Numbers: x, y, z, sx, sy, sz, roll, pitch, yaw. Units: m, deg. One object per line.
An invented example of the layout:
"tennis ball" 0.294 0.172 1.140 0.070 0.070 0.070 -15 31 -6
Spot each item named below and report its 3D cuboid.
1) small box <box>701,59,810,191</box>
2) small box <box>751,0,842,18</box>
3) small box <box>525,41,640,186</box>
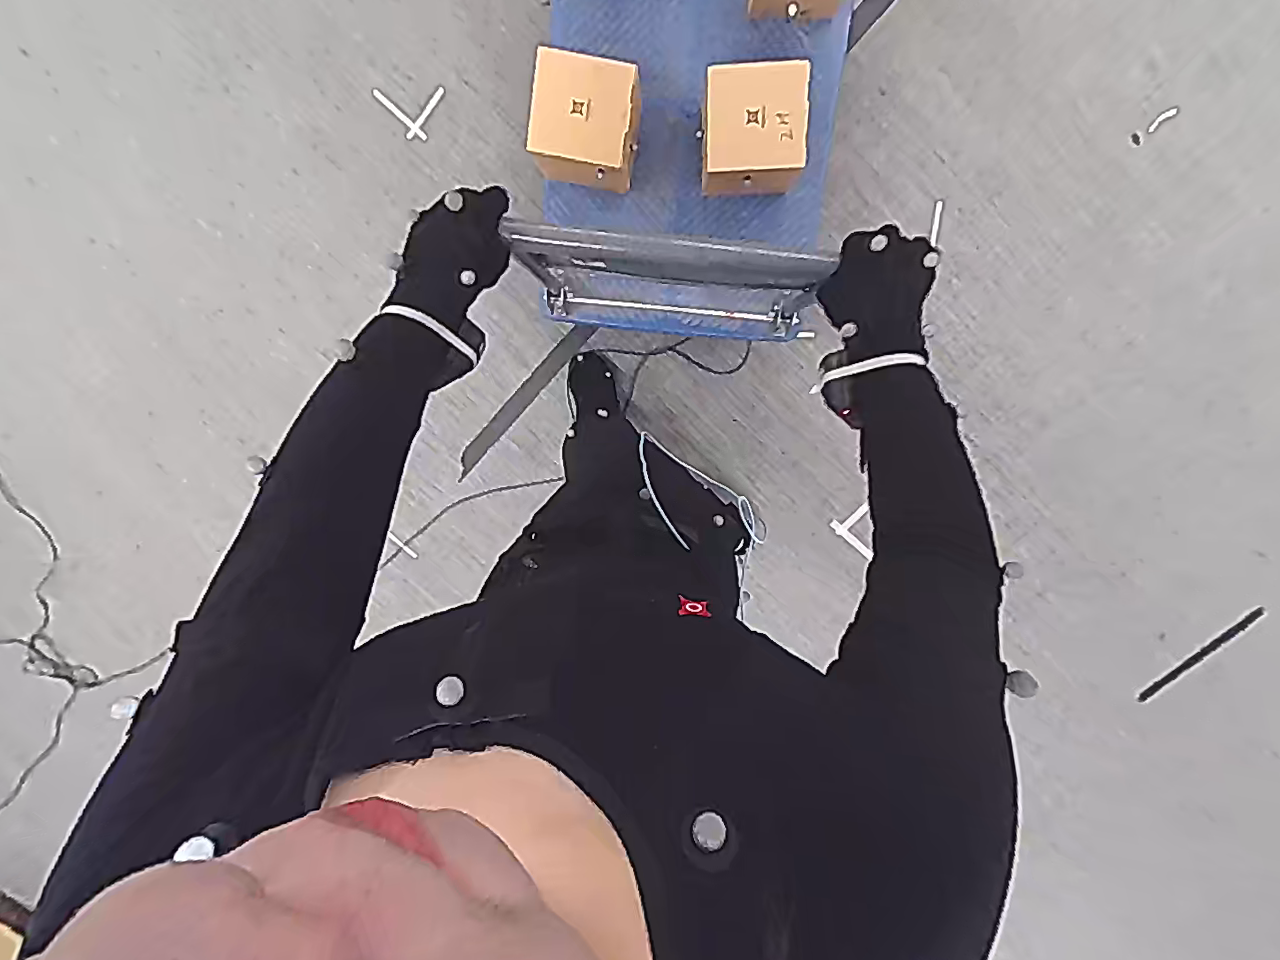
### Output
"small box" 0.204 -0.649 1.008 0.179 0.176 0.168 0 105 3
"small box" 0.287 -0.943 0.924 0.168 0.176 0.179 3 106 3
"small box" -0.102 -0.676 1.020 0.179 0.176 0.168 11 105 -1
